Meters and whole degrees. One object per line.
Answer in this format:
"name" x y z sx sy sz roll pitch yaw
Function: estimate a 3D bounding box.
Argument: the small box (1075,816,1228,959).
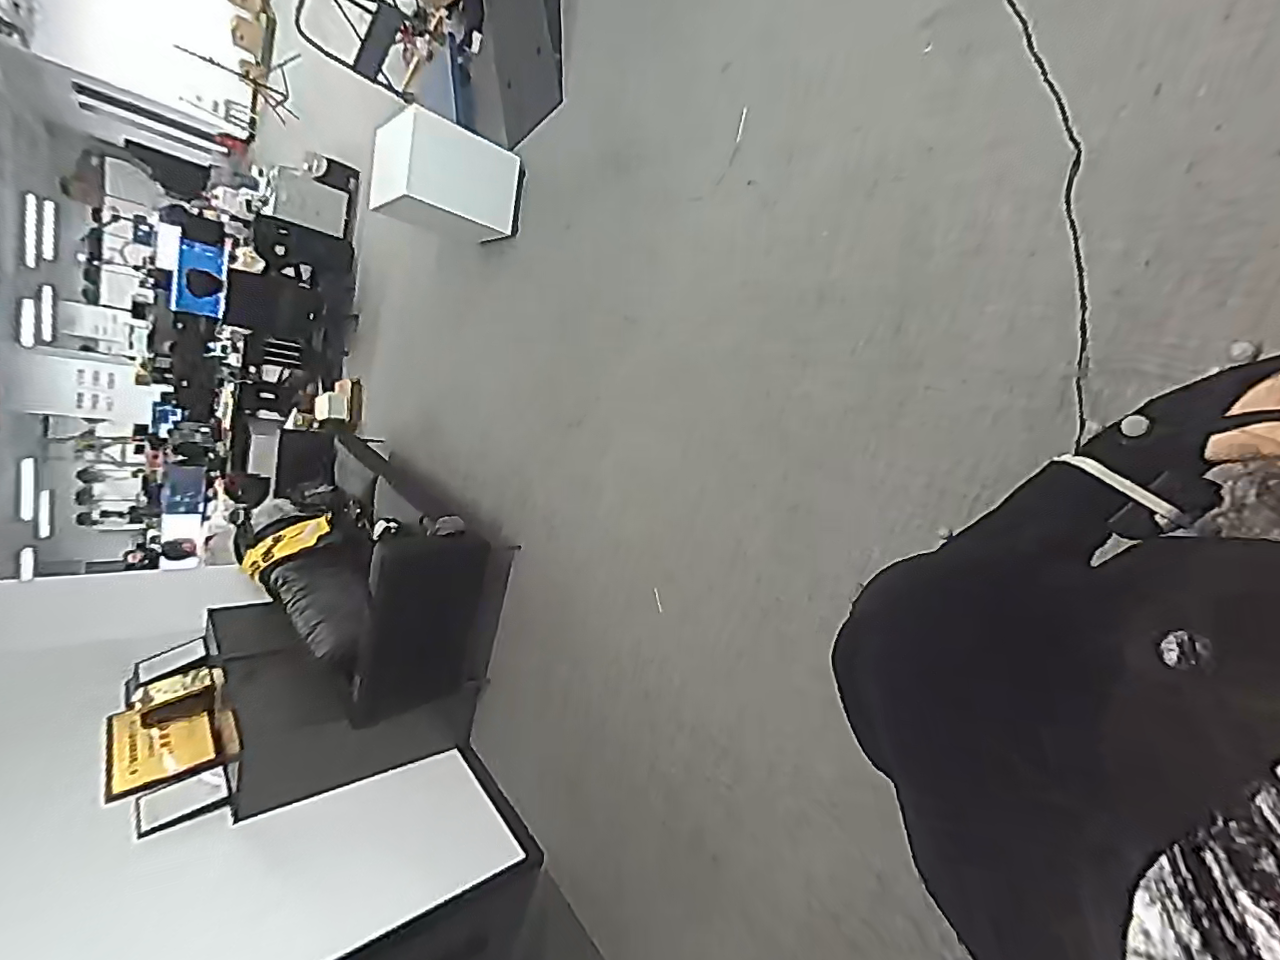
"small box" 0.993 0.812 1.054 0.168 0.176 0.179 27 108 42
